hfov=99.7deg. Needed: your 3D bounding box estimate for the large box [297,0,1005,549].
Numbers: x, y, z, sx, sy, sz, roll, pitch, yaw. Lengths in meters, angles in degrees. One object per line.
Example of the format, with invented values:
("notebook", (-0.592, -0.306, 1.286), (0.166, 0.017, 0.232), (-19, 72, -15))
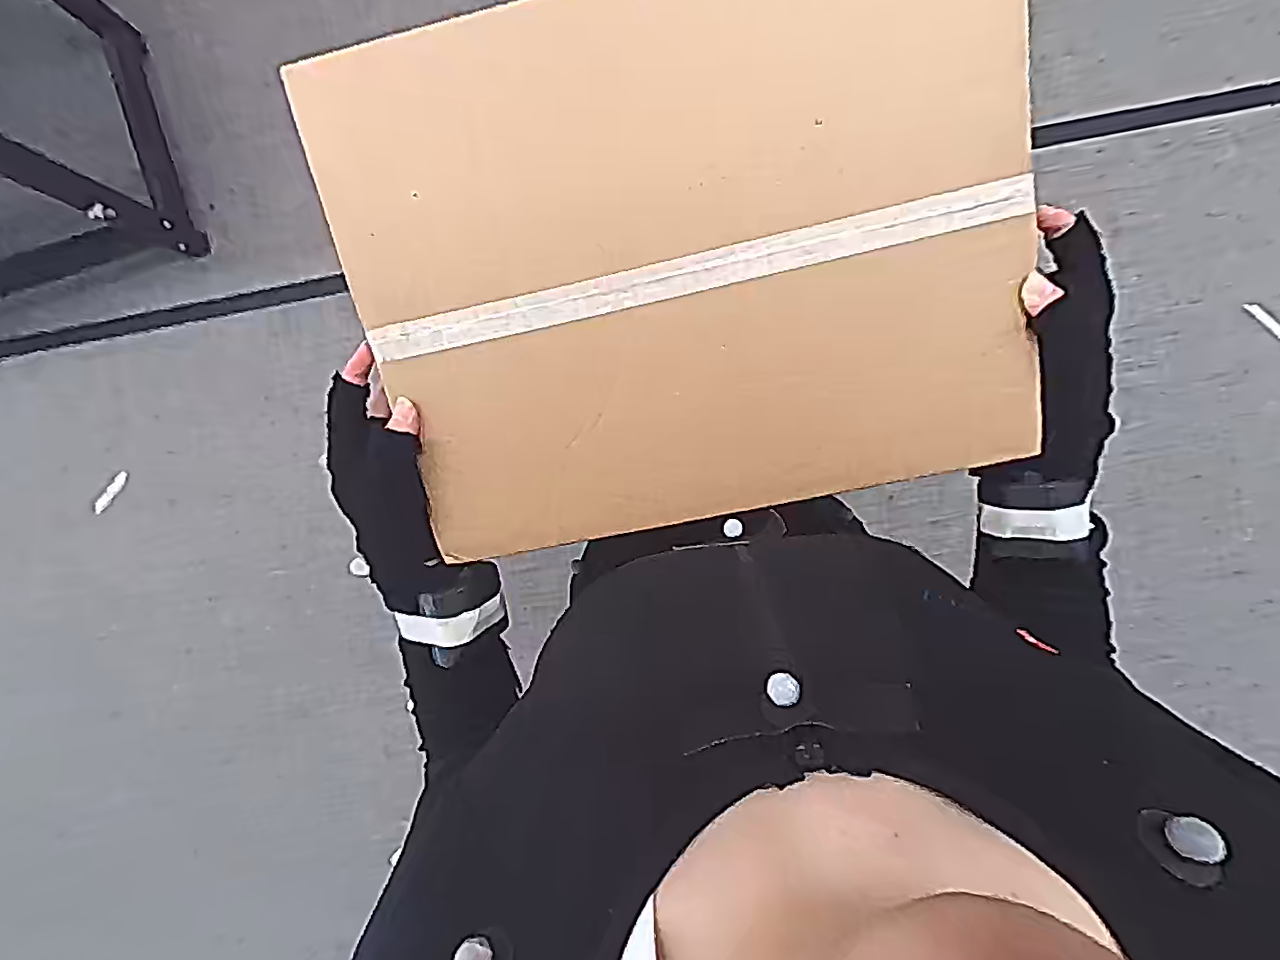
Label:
("large box", (0.027, -0.173, 0.481), (0.408, 0.320, 0.320), (-11, 105, 5))
